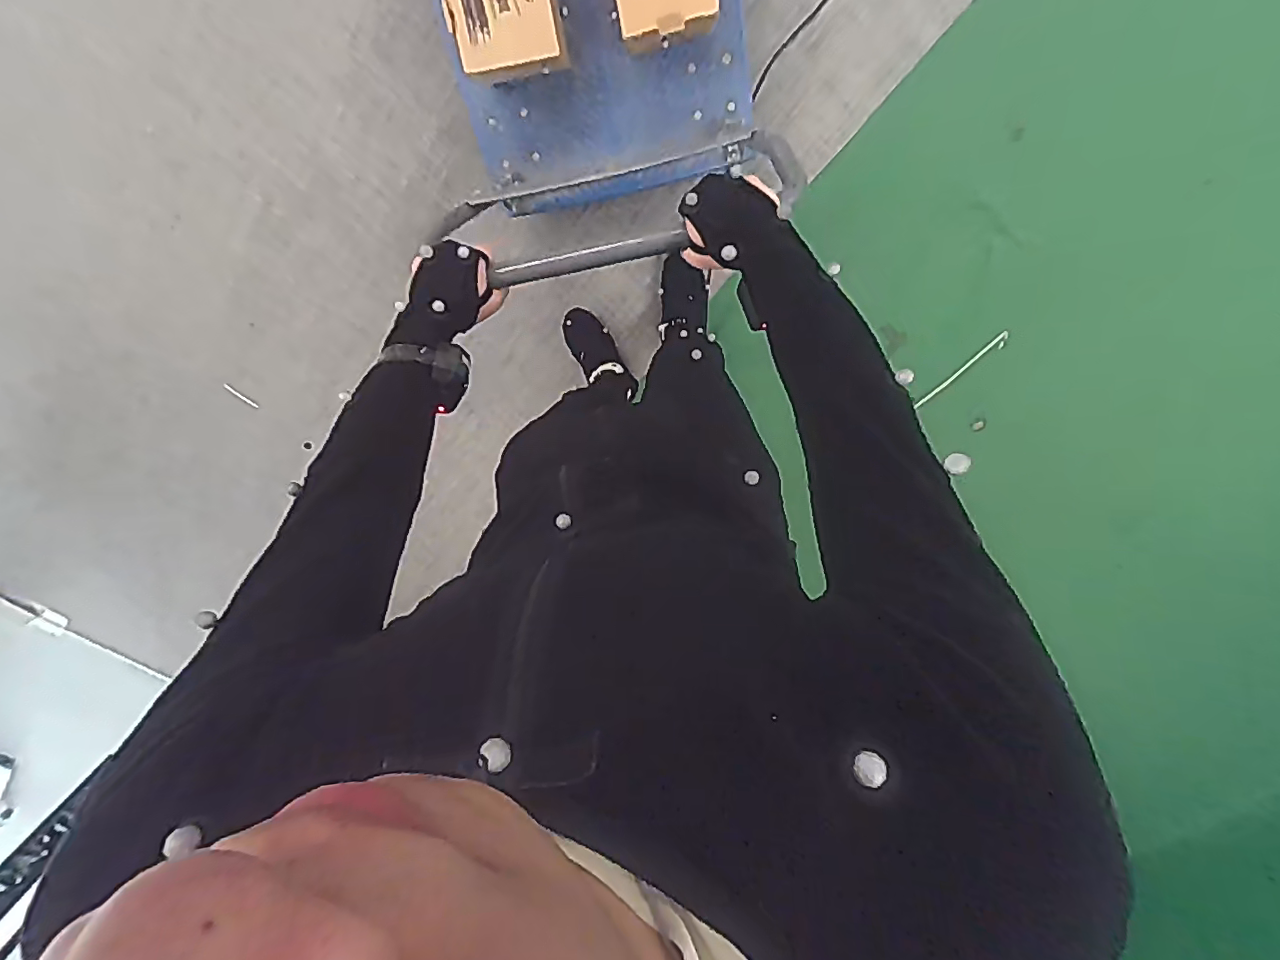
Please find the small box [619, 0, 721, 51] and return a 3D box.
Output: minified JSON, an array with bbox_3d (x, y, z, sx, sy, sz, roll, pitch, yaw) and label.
[{"bbox_3d":[0.040,-0.876,0.929,0.168,0.176,0.179,-9,122,8],"label":"small box"}]
